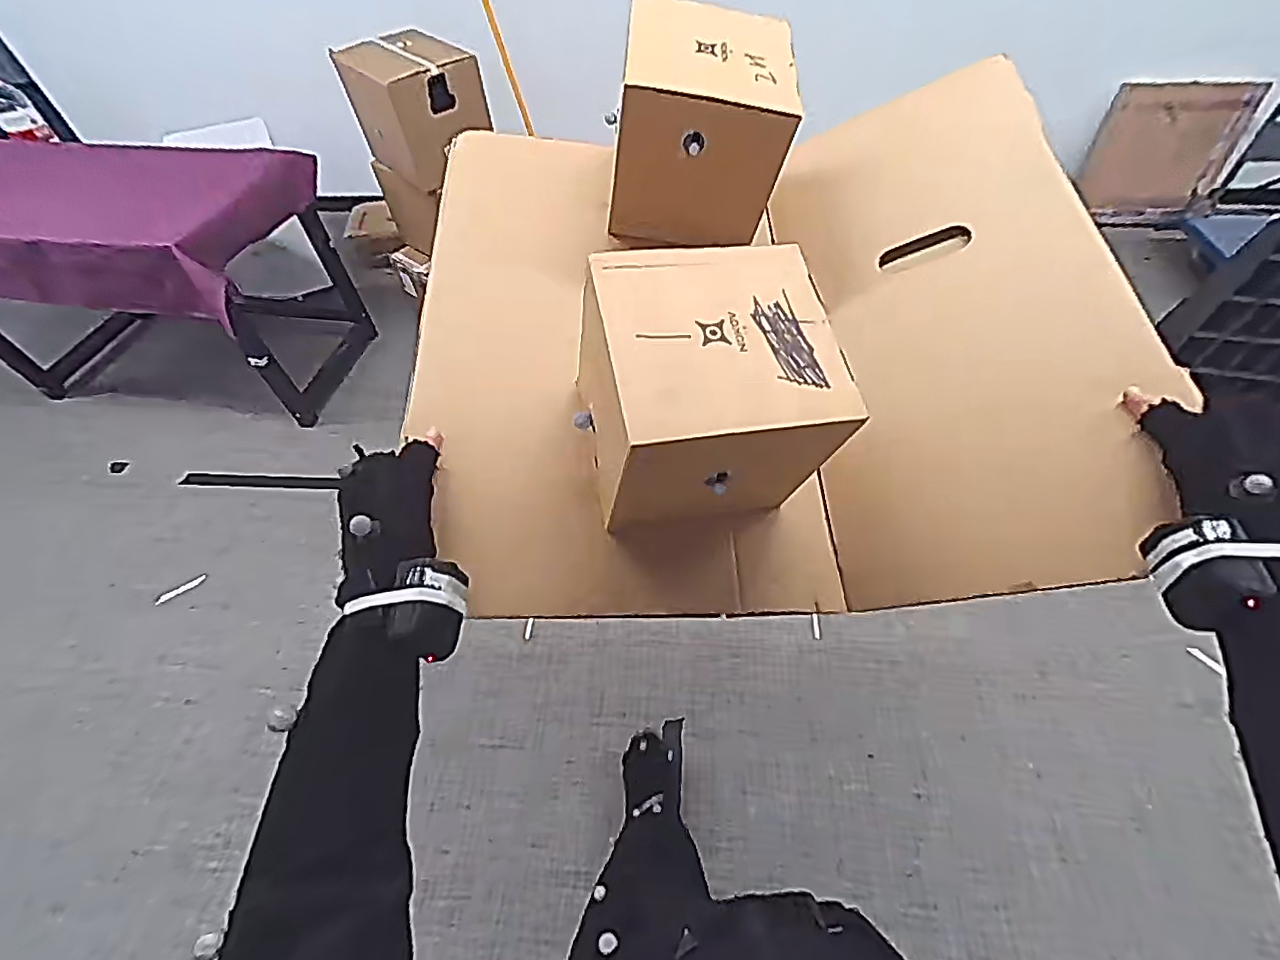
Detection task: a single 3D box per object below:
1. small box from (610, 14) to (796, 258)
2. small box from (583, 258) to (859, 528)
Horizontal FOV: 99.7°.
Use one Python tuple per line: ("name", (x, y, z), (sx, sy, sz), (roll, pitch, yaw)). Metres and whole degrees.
("small box", (0.062, -0.386, 0.628), (0.179, 0.176, 0.168), (6, 64, -7))
("small box", (0.050, -0.068, 0.476), (0.179, 0.176, 0.168), (-8, 67, -12))
